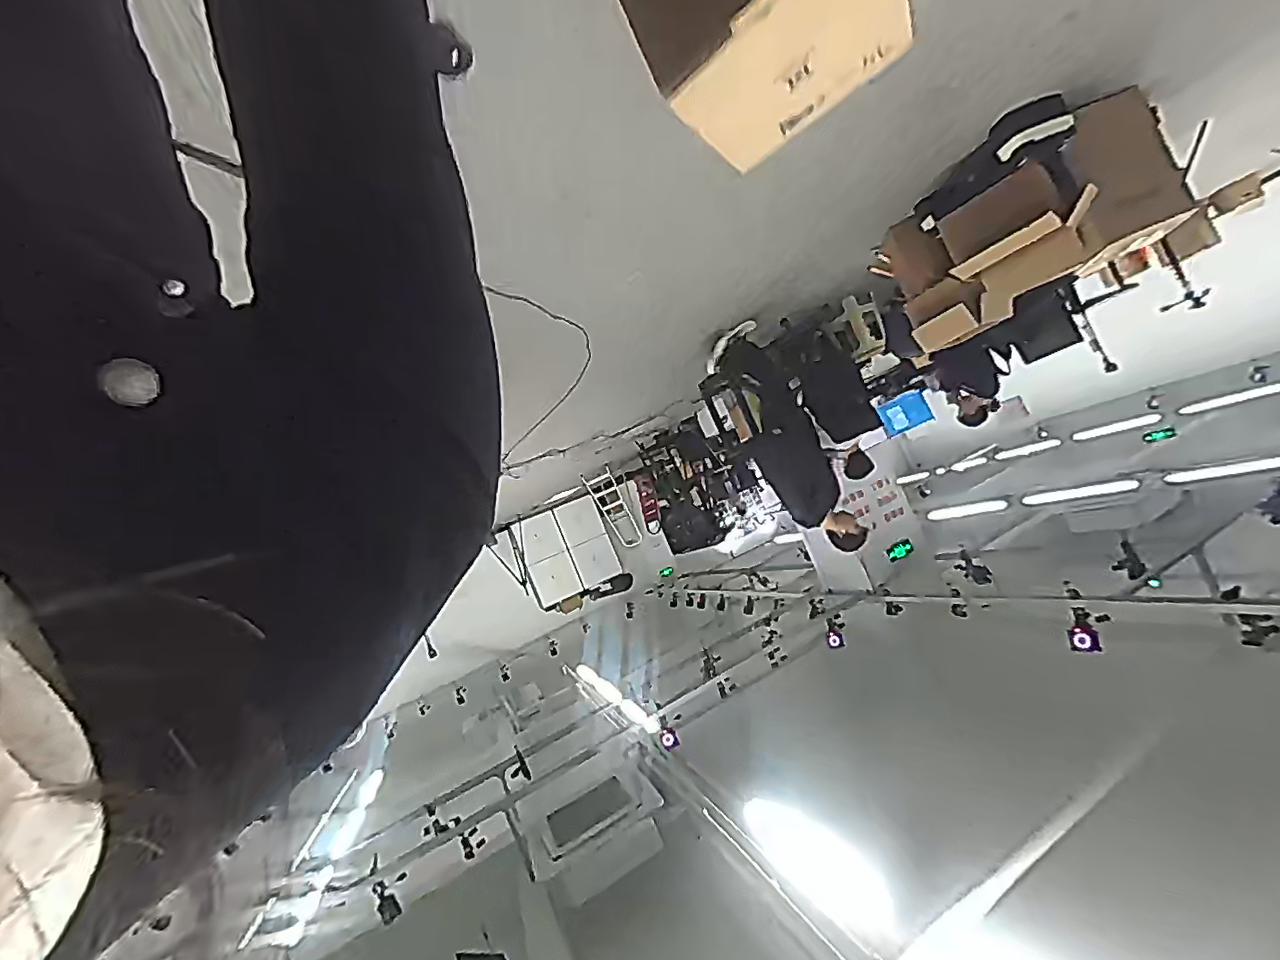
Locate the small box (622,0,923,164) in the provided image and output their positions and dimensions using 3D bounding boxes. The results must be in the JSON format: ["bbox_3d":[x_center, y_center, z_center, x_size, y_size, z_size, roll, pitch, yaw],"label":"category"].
[{"bbox_3d":[0.088,-0.395,0.415,0.168,0.176,0.179,-29,176,35],"label":"small box"}]
